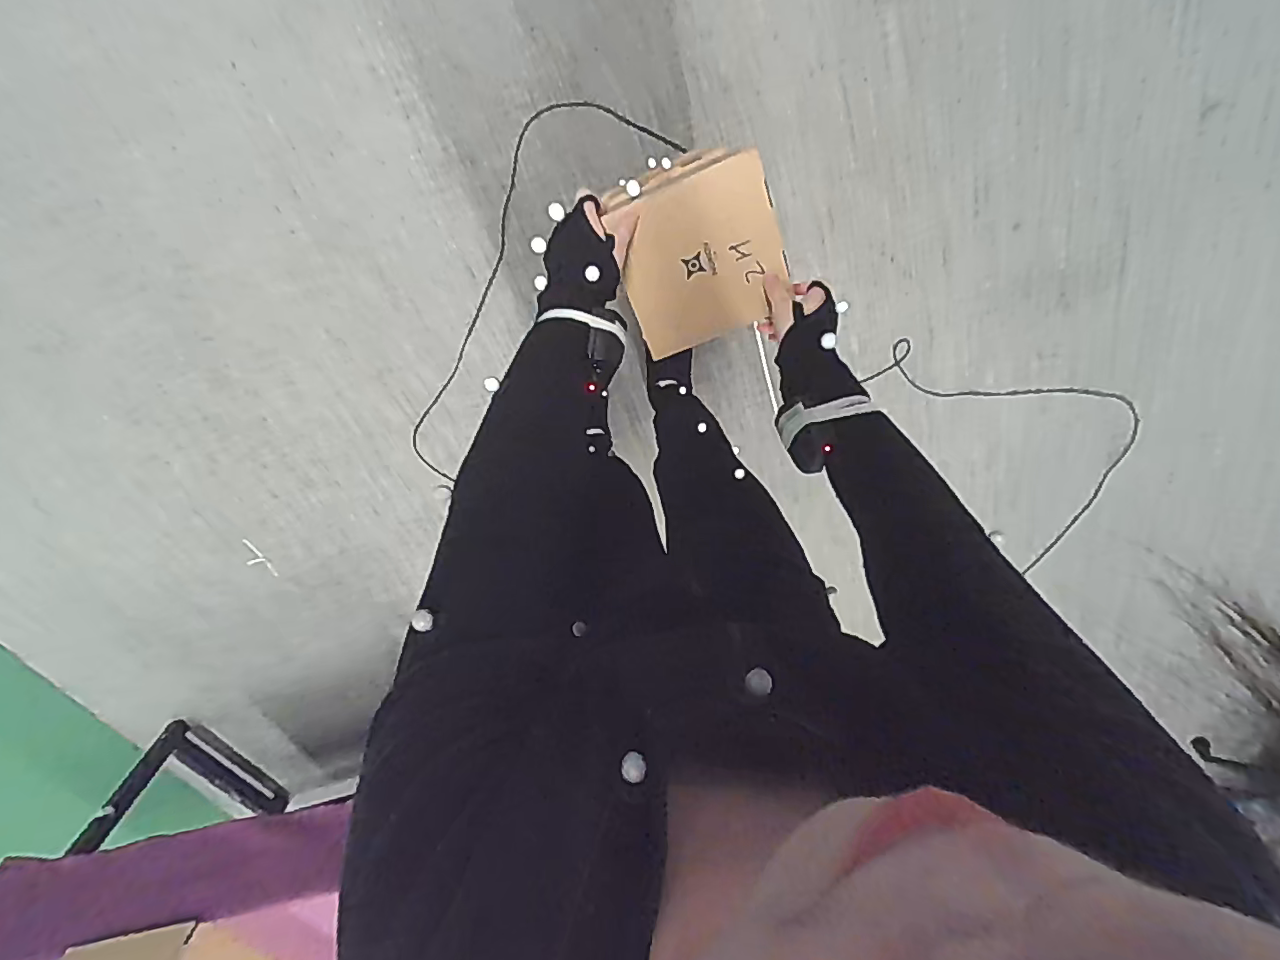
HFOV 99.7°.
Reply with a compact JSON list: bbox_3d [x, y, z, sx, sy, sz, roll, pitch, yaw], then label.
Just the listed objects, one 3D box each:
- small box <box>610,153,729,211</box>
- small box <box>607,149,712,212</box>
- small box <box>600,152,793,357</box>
[{"bbox_3d":[0.068,-0.359,0.804,0.168,0.176,0.179,-20,117,11],"label":"small box"},{"bbox_3d":[0.058,-0.448,0.941,0.179,0.176,0.168,-21,118,10],"label":"small box"},{"bbox_3d":[0.067,-0.275,0.663,0.179,0.176,0.168,-19,118,11],"label":"small box"}]
